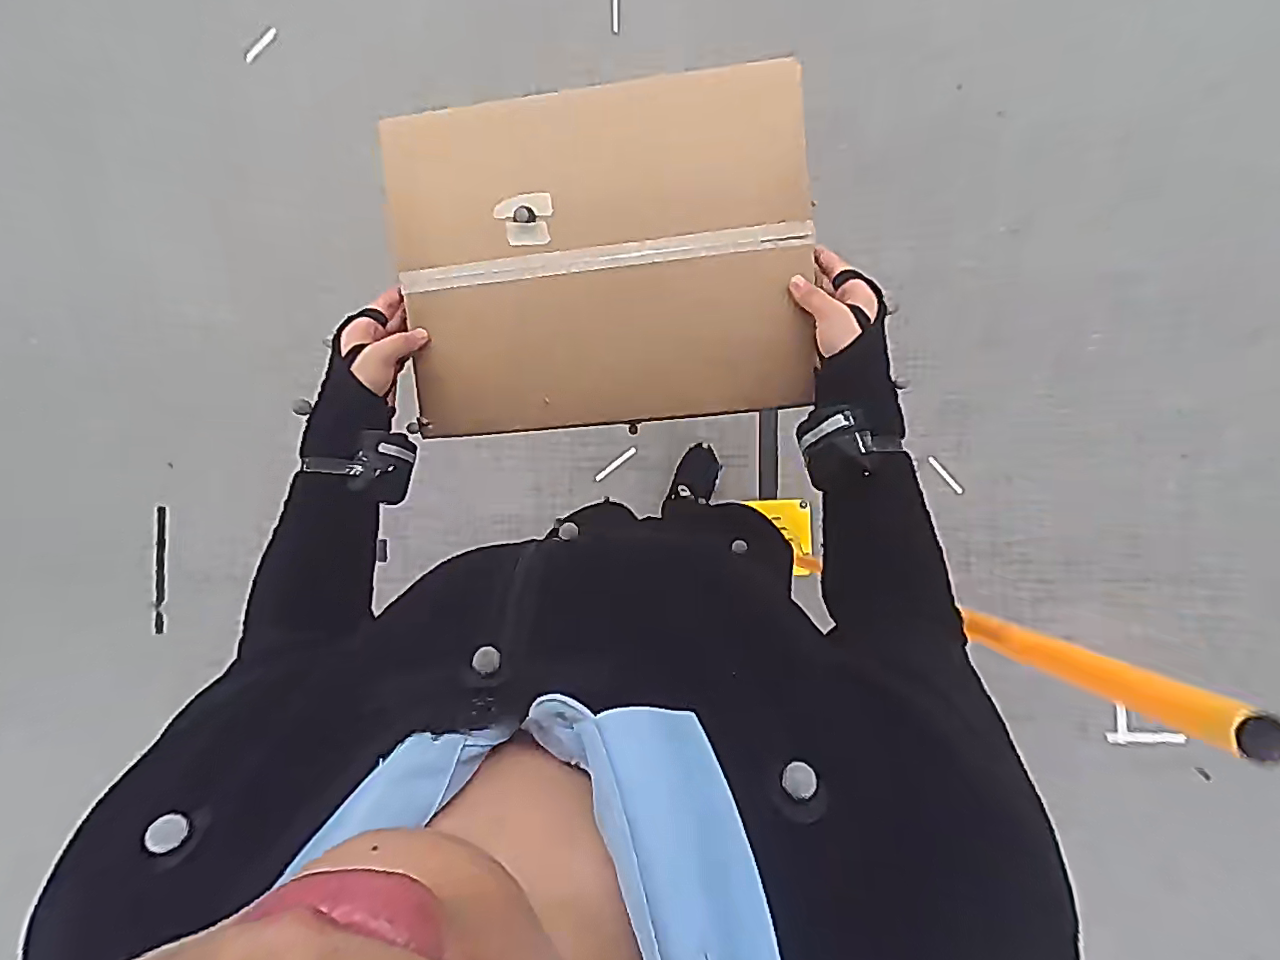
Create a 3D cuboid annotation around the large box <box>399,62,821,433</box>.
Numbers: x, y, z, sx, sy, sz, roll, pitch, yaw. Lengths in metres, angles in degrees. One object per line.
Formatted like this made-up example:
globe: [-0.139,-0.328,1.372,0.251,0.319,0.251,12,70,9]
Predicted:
large box: [-0.017,-0.237,0.684,0.408,0.320,0.320,-5,95,6]
